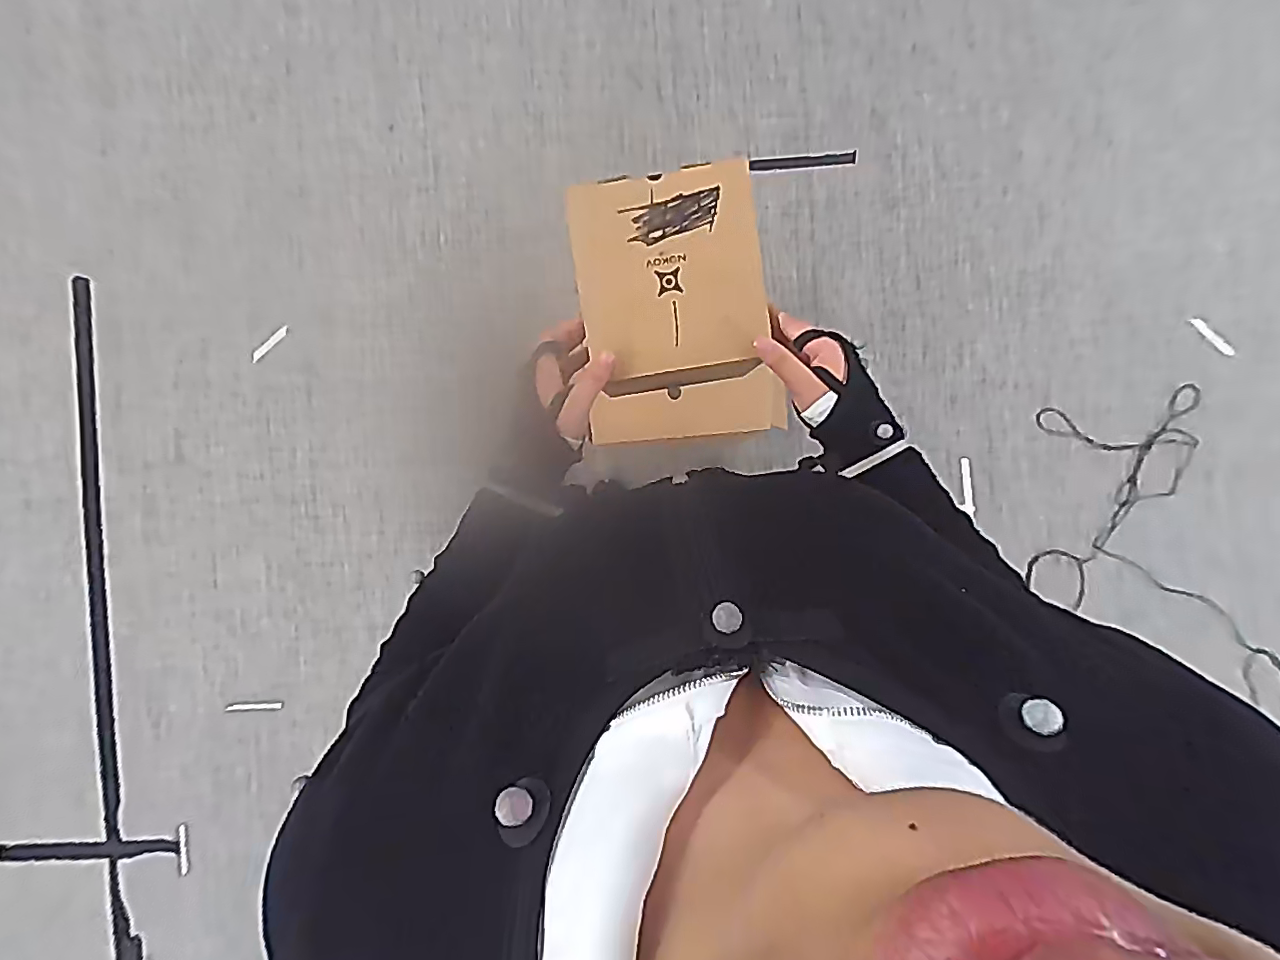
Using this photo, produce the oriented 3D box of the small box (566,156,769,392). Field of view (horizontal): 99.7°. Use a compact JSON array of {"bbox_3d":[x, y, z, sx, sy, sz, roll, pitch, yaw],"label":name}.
[{"bbox_3d":[0.026,-0.195,0.562,0.168,0.176,0.179,-9,95,2],"label":"small box"}]
